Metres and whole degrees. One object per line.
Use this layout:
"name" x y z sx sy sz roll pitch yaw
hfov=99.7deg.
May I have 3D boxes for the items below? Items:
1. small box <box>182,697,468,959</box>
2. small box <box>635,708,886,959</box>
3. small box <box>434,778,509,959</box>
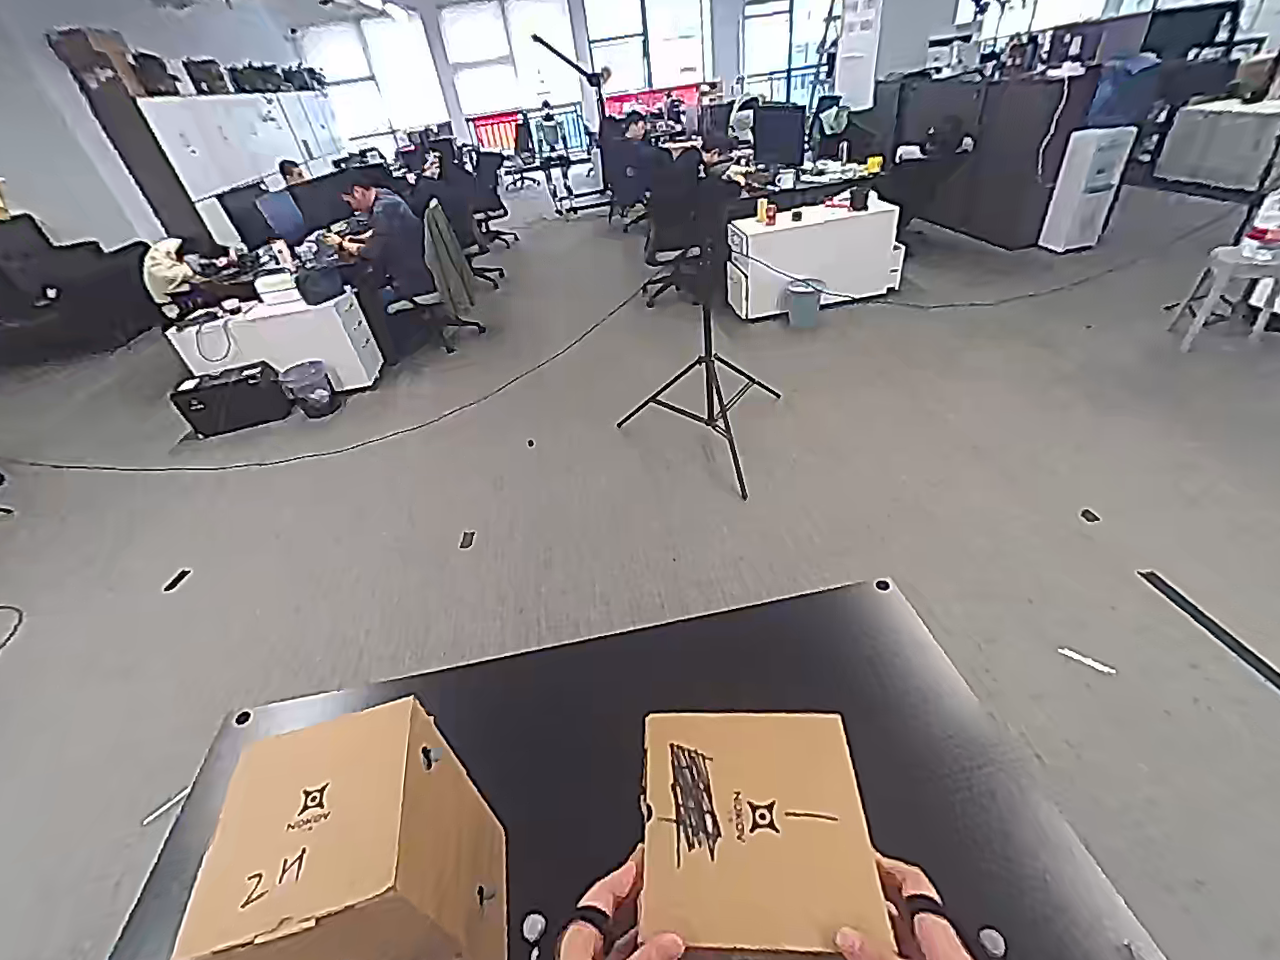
"small box" -0.276 0.353 0.527 0.168 0.176 0.179 -15 37 -7
"small box" 0.094 0.324 0.484 0.179 0.176 0.168 -2 40 5
"small box" -0.254 0.488 0.623 0.168 0.176 0.179 -14 37 -6
